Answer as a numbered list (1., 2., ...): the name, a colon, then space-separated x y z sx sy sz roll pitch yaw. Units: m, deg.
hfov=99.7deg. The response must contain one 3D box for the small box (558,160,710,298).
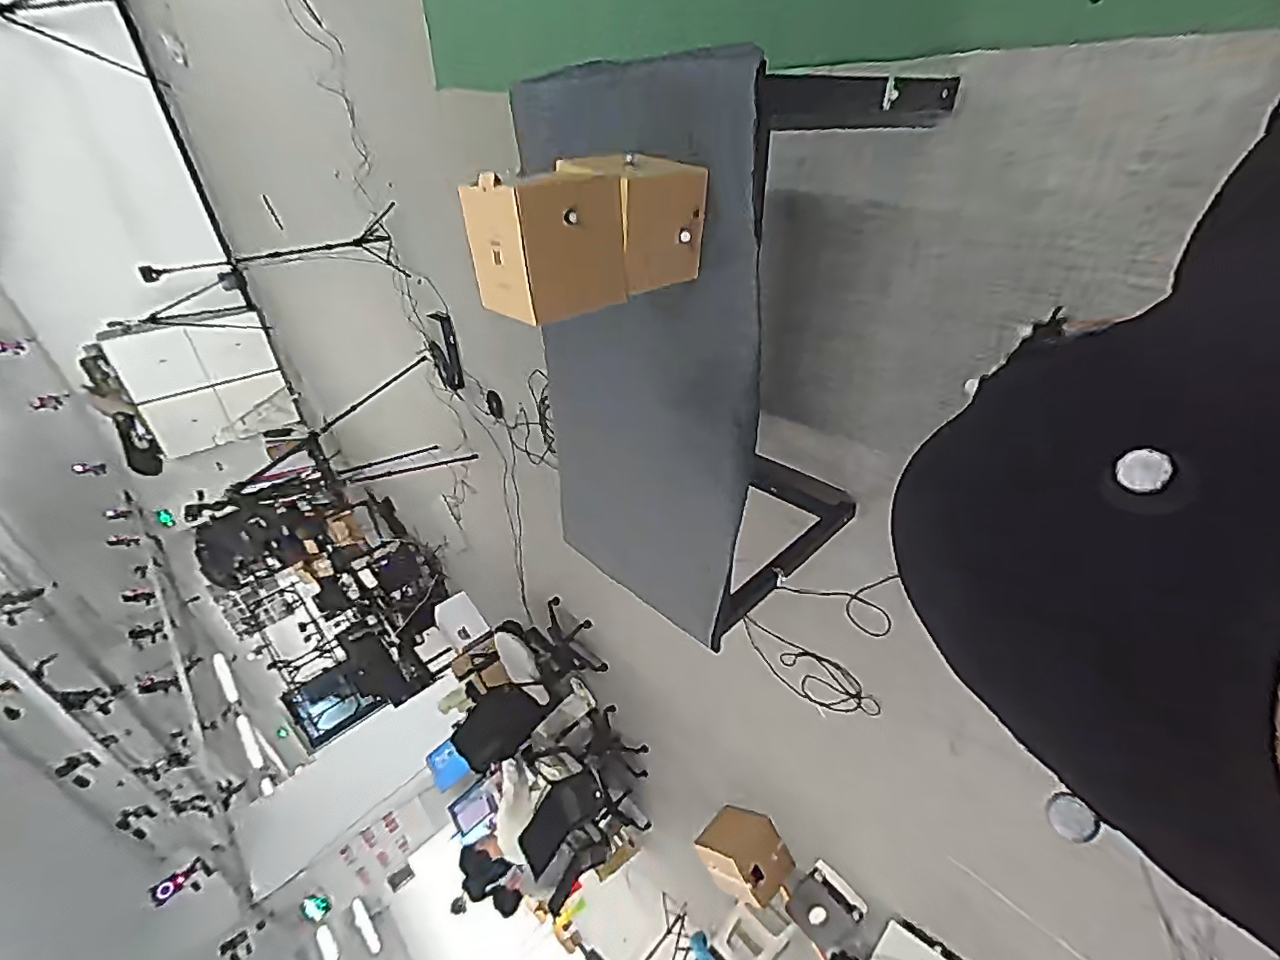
1. small box: -0.013 -0.412 0.877 0.179 0.176 0.168 36 139 34

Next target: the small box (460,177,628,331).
1. small box: -0.134 -0.340 0.795 0.168 0.176 0.179 30 137 42
